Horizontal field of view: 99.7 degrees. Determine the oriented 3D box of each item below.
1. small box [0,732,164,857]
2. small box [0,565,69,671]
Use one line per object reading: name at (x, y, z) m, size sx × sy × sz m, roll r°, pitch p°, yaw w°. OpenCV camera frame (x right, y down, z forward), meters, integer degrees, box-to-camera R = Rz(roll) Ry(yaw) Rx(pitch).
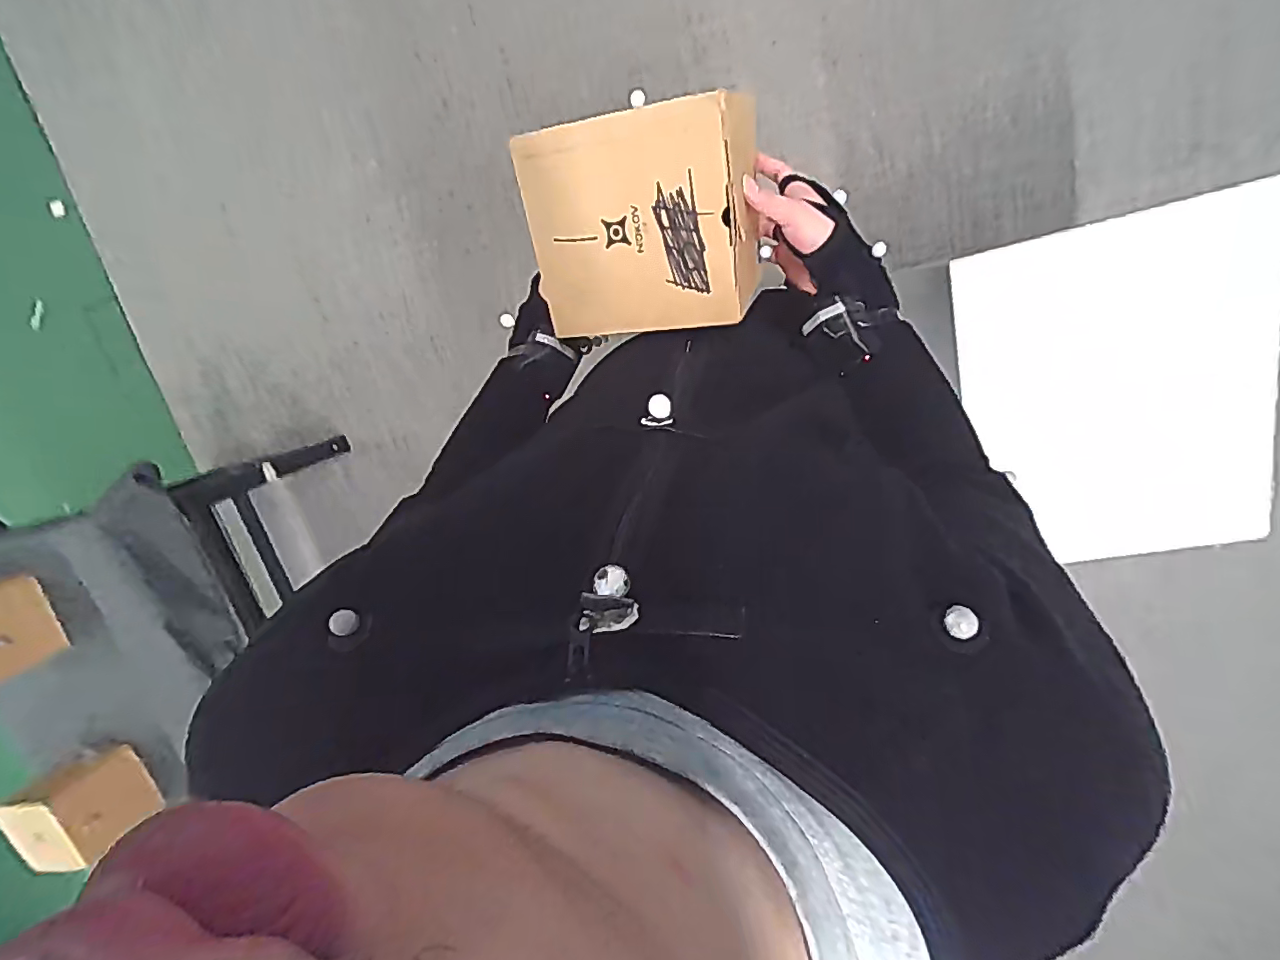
small box at (-1.228, 0.695, 1.202) m, size 0.168 × 0.176 × 0.179 m, roll -11°, pitch 105°, yaw 12°
small box at (-1.317, 0.287, 1.076) m, size 0.168 × 0.176 × 0.179 m, roll -4°, pitch 108°, yaw 11°
